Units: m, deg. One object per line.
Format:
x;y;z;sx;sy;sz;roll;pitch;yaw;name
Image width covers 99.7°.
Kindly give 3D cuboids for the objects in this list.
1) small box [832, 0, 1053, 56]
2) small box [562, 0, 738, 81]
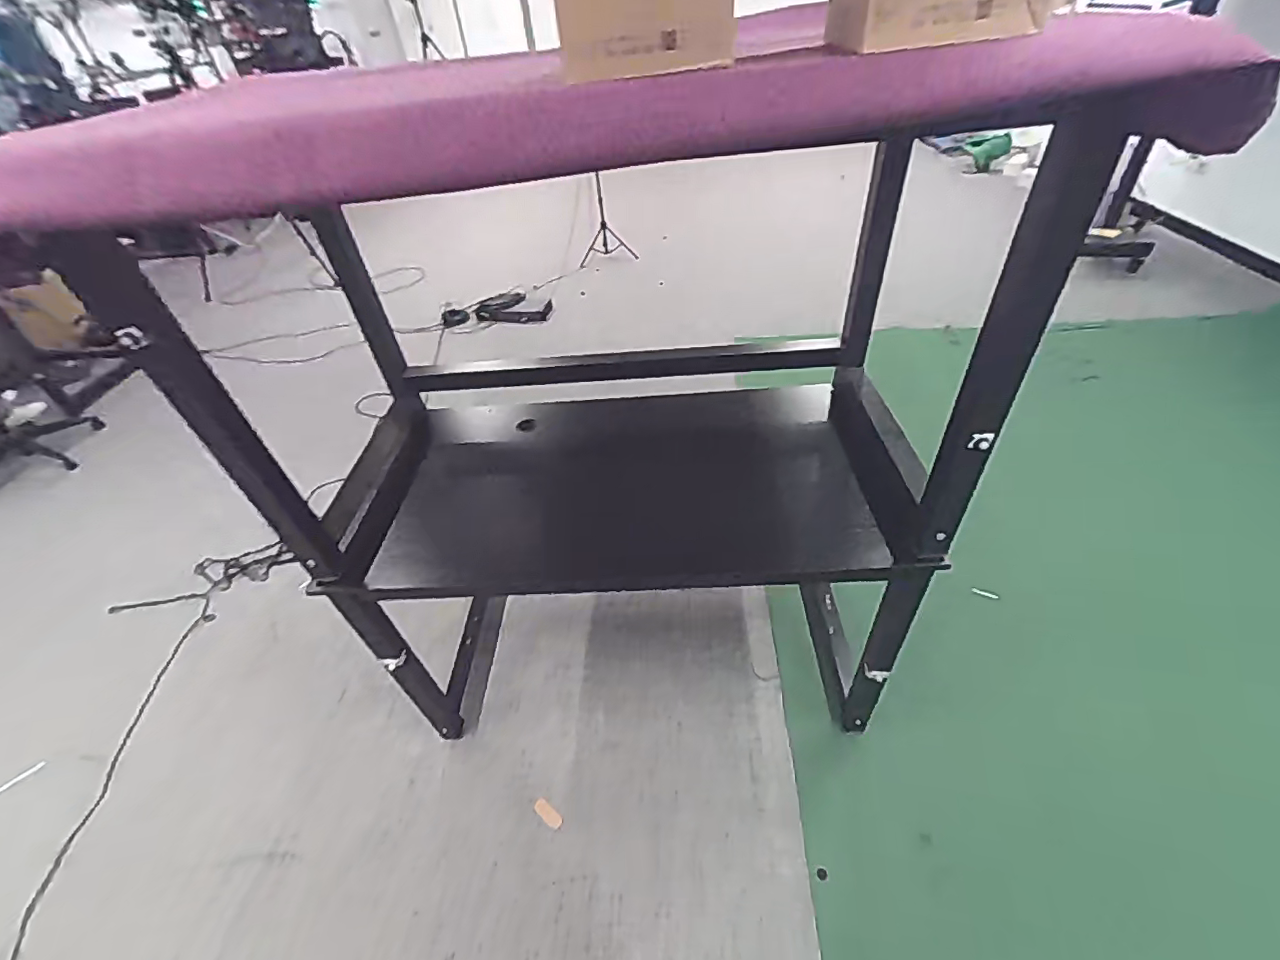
0.291;-0.519;0.512;0.168;0.176;0.179;-3;41;6;small box
0.010;-0.512;0.541;0.168;0.176;0.179;-2;40;4;small box
